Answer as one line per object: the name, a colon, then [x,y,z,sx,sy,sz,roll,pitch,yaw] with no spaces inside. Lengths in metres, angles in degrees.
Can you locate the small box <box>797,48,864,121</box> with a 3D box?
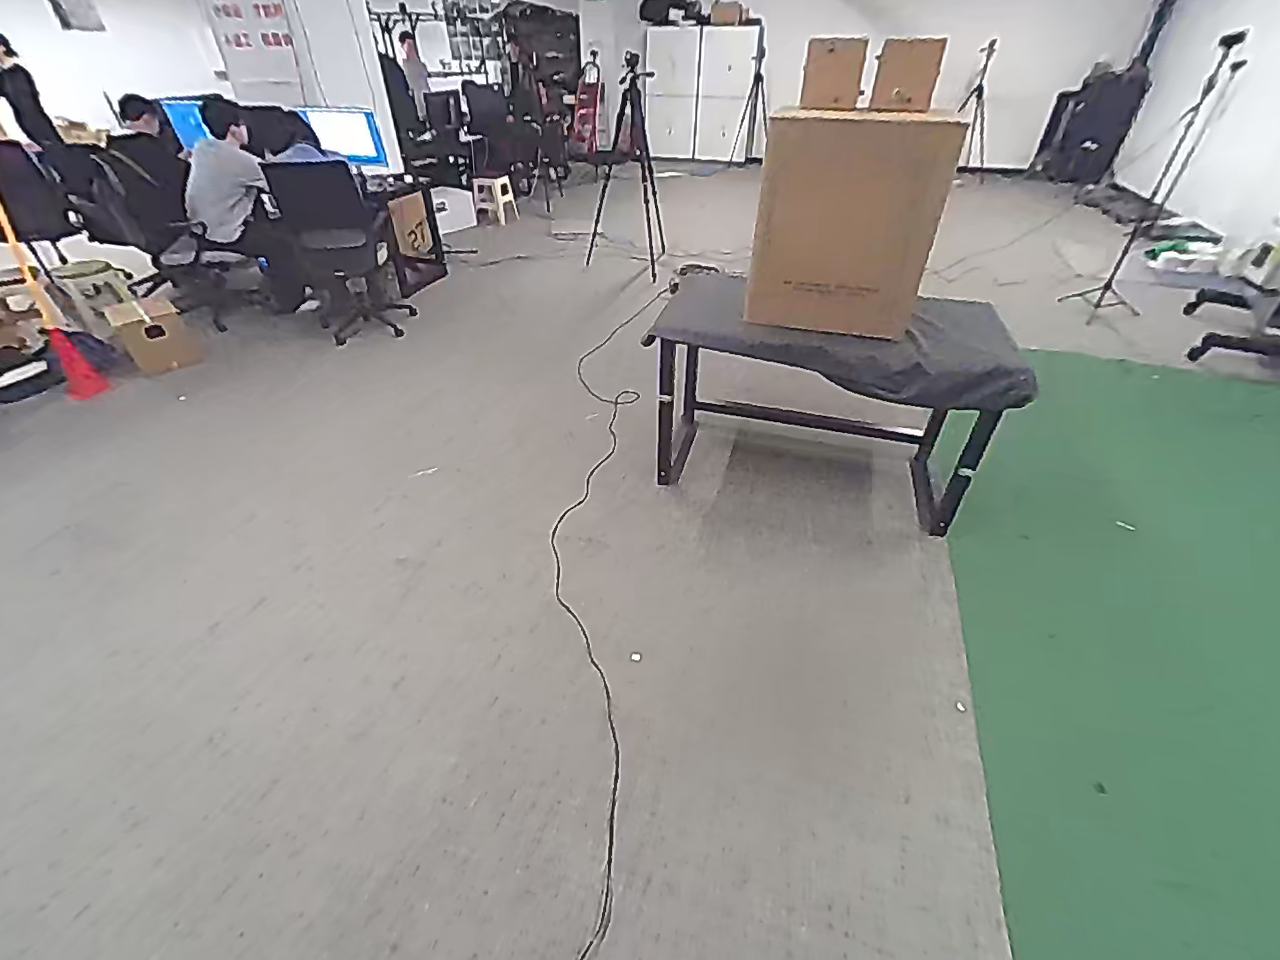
small box: [0.579,-1.203,1.648,0.168,0.176,0.179,10,37,15]
